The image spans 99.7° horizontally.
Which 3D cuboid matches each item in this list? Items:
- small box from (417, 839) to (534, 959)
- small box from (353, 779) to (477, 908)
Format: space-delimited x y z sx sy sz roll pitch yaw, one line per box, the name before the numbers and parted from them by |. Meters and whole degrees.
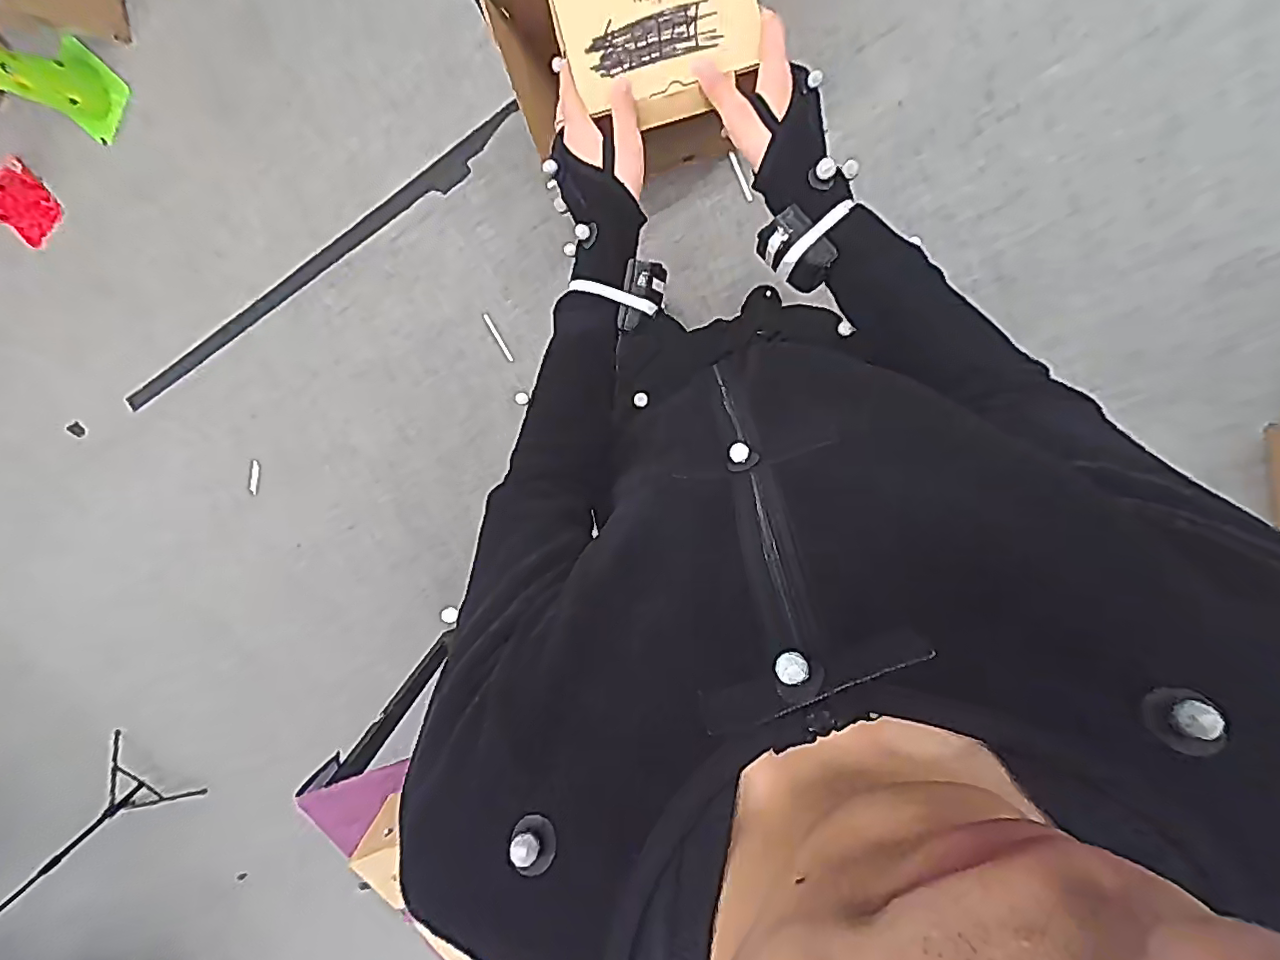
small box | -0.382 1.002 1.291 0.179 0.176 0.168 -24 106 17
small box | -0.499 0.824 1.237 0.179 0.176 0.168 -30 105 19
